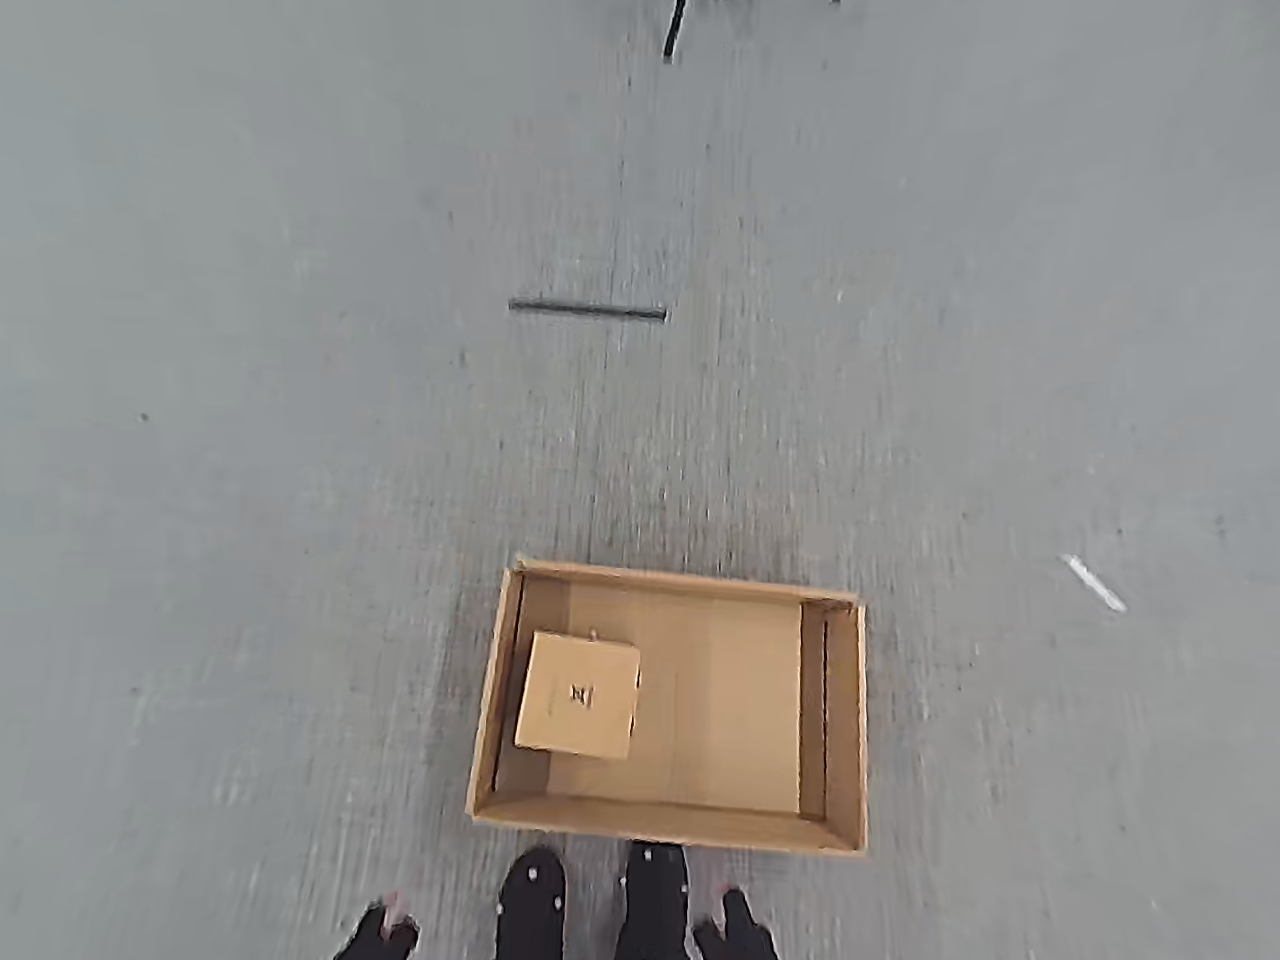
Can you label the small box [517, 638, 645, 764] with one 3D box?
[{"bbox_3d":[-0.095,0.363,0.915,0.179,0.176,0.168,9,73,-1],"label":"small box"}]
